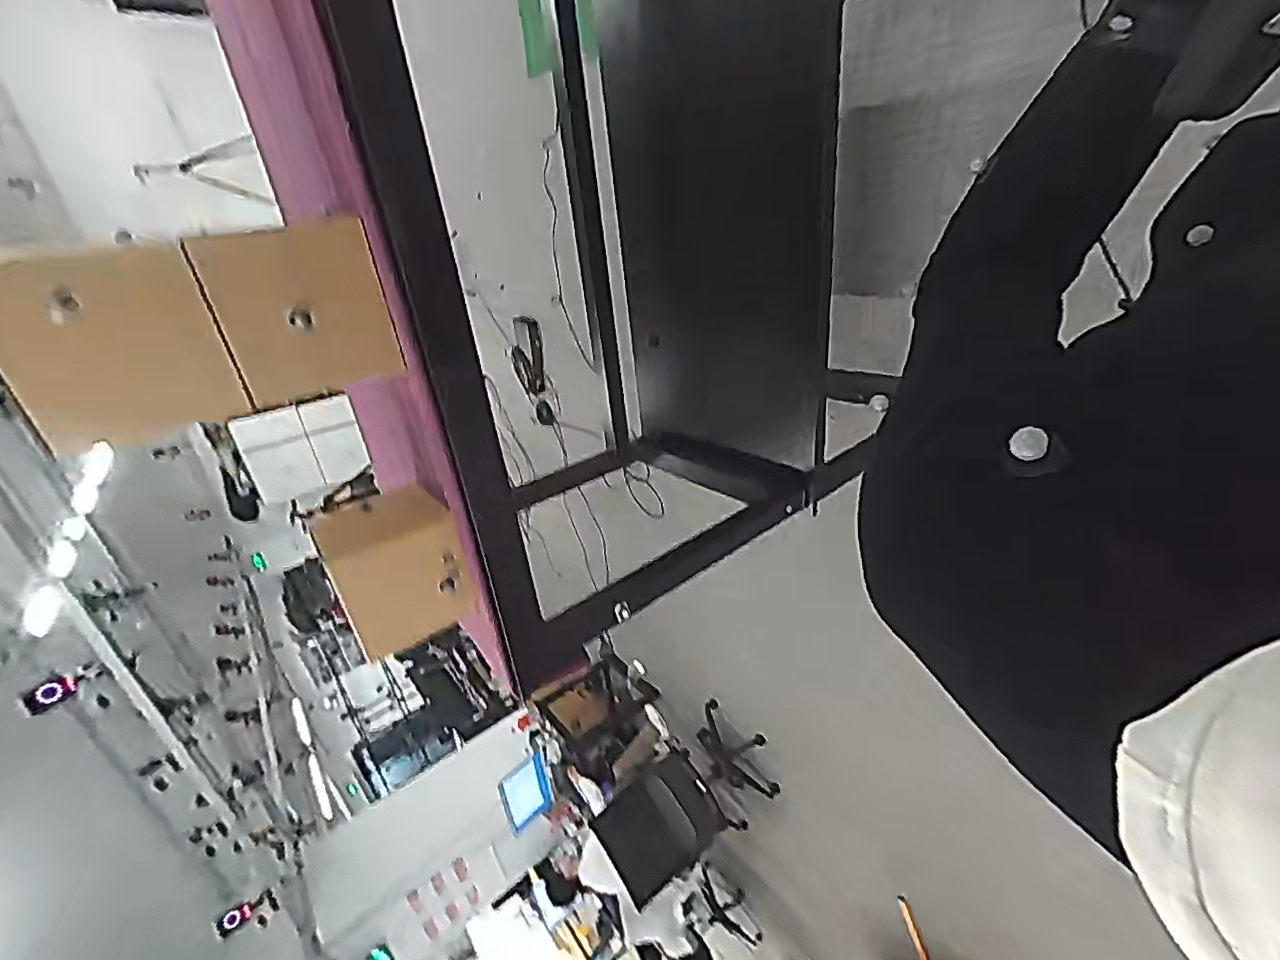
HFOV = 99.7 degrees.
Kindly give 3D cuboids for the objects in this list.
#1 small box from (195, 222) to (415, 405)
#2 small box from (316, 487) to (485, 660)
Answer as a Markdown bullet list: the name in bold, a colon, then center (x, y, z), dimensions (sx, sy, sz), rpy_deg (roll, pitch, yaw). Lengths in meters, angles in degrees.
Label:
- **small box**: center (-0.400, -0.212, 0.657), dimensions (0.168, 0.176, 0.179), rpy_deg (27, 132, 48)
- **small box**: center (-0.352, 0.124, 0.804), dimensions (0.179, 0.176, 0.168), rpy_deg (23, 129, 49)
